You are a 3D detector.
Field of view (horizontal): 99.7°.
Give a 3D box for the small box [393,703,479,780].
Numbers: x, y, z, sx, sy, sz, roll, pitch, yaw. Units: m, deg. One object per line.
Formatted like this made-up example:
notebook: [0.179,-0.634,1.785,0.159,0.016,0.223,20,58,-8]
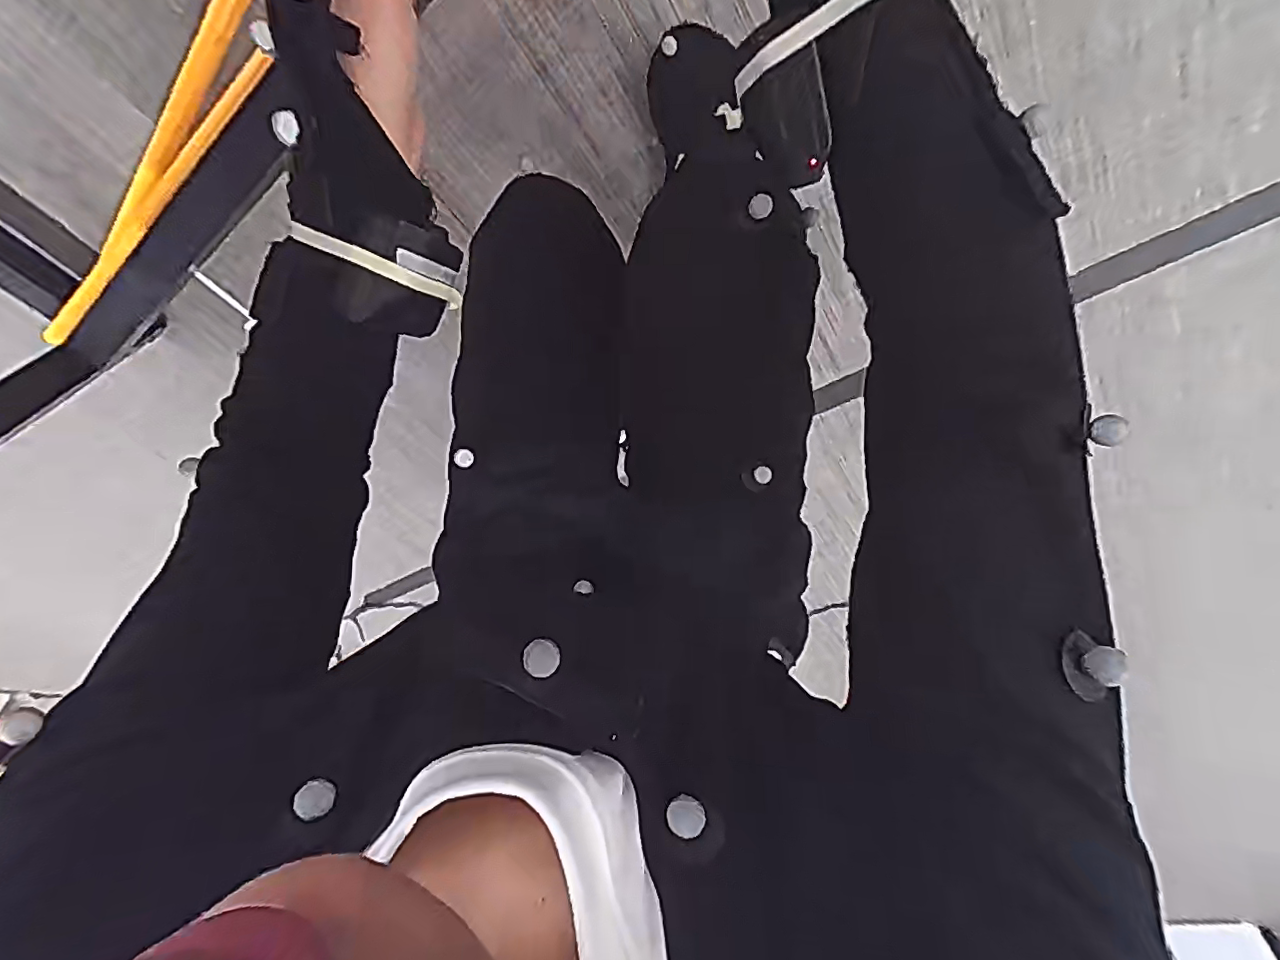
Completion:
small box: [-0.649,0.842,1.745,0.168,0.176,0.179,-25,128,24]
